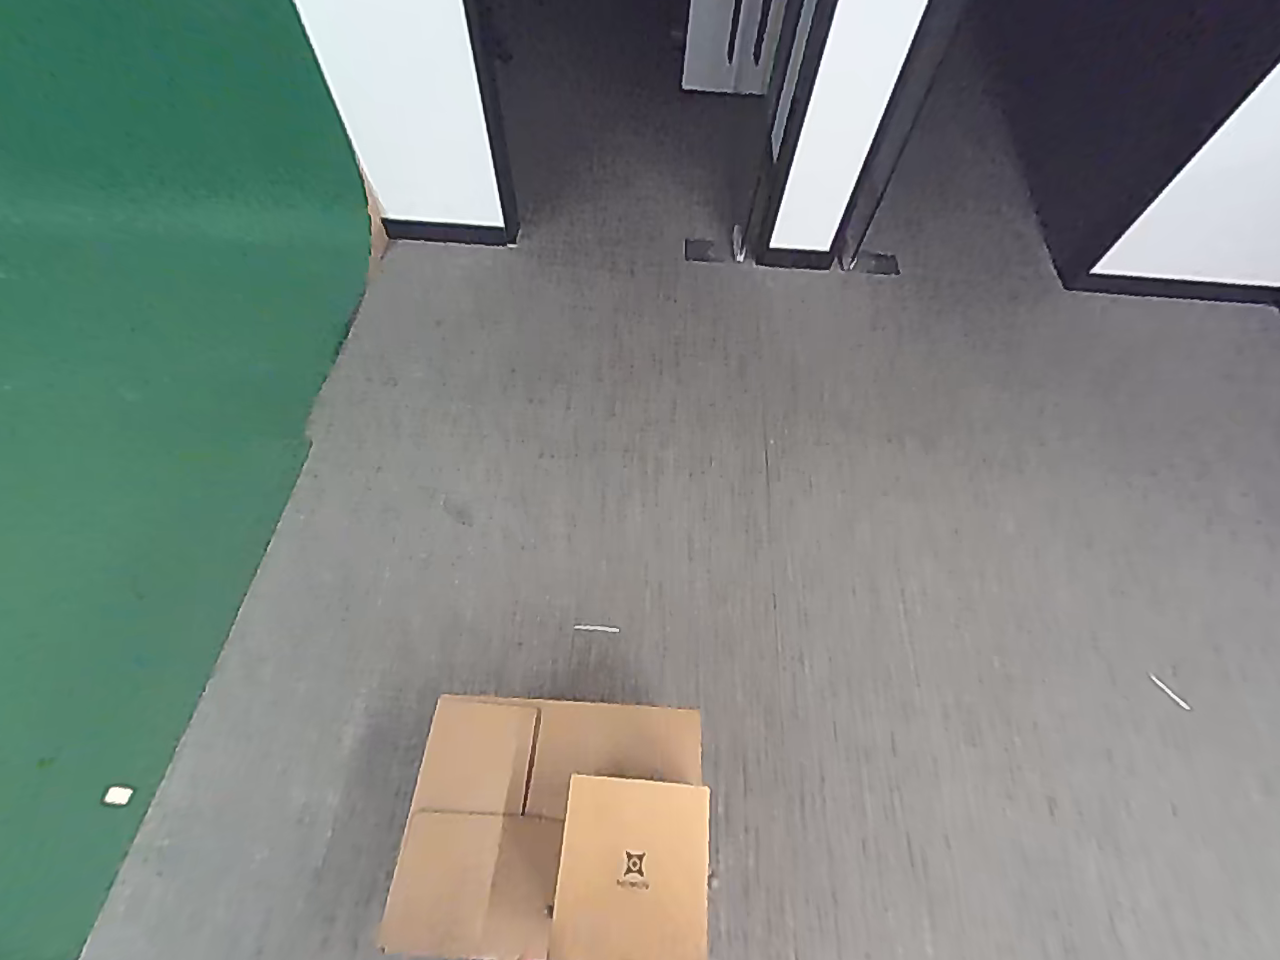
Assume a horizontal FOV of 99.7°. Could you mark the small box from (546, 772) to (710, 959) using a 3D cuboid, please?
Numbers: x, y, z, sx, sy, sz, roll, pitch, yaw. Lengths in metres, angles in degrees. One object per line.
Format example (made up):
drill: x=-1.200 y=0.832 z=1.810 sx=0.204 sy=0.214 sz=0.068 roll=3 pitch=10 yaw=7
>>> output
small box: x=-0.011 y=0.467 z=0.662 sx=0.168 sy=0.176 sz=0.179 roll=6 pitch=60 yaw=1
